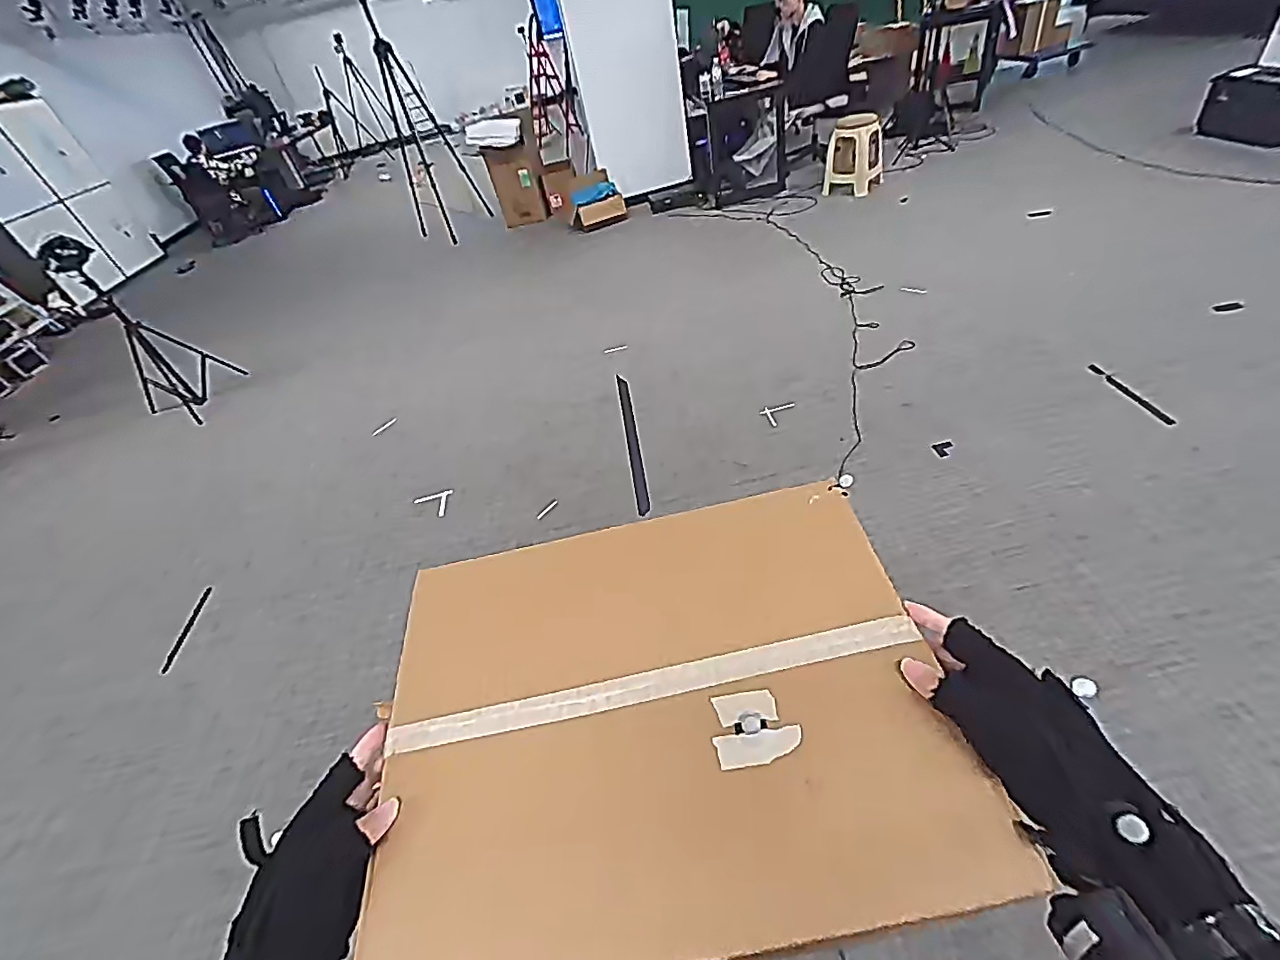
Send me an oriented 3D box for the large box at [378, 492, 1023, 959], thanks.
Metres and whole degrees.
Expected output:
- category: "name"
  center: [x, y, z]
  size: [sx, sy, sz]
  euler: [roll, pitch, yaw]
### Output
- category: "large box"
  center: [0.034, 0.262, 0.526]
  size: [0.408, 0.320, 0.320]
  euler: [-12, 48, 1]
